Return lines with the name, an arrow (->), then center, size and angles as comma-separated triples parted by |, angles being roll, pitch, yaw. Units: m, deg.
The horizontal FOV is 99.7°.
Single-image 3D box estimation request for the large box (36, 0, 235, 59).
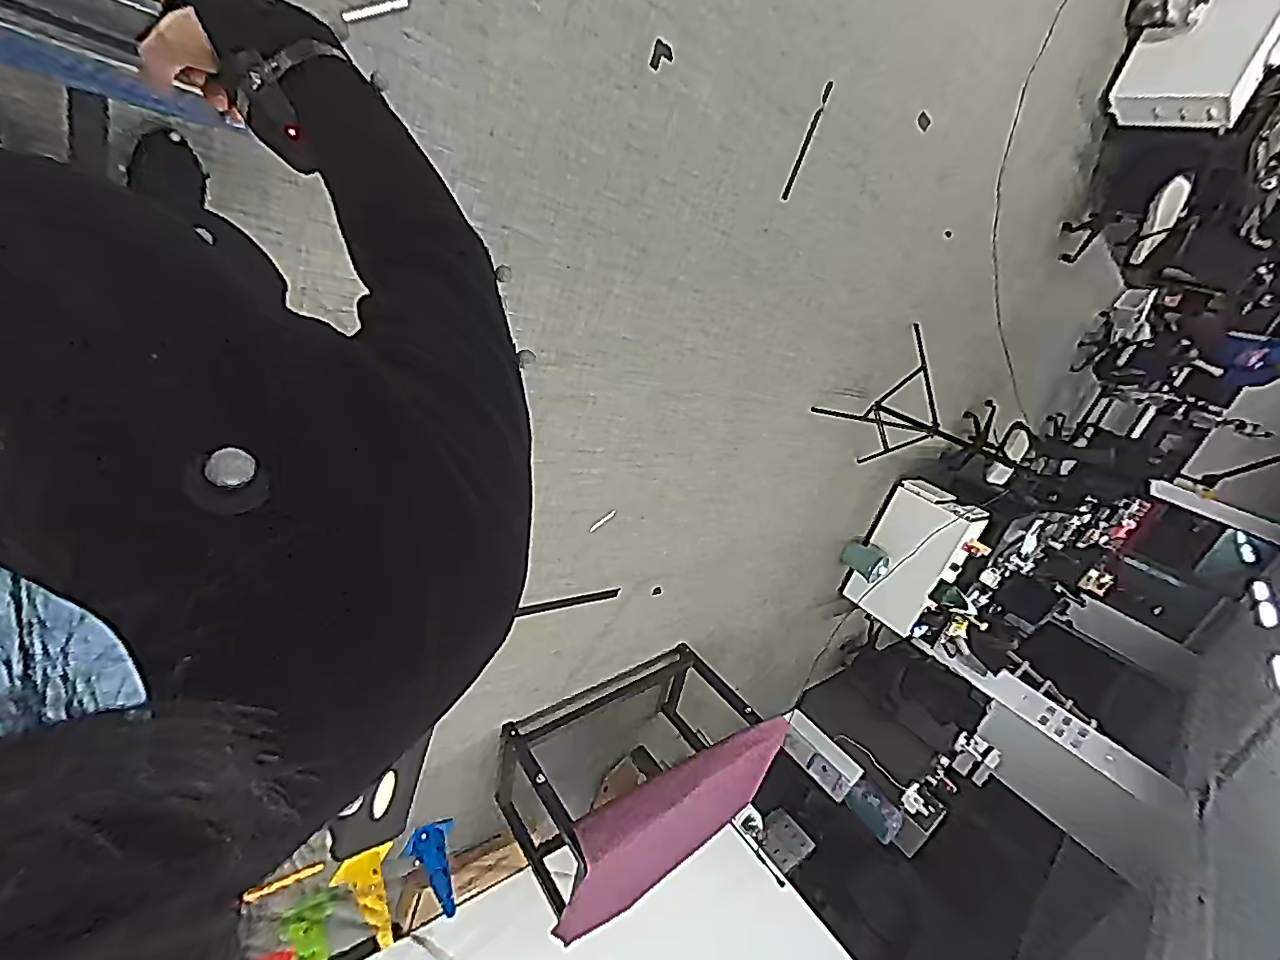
large box -> -0.722, -0.743, 0.600 | 0.408, 0.320, 0.320 | -4, 120, -43
